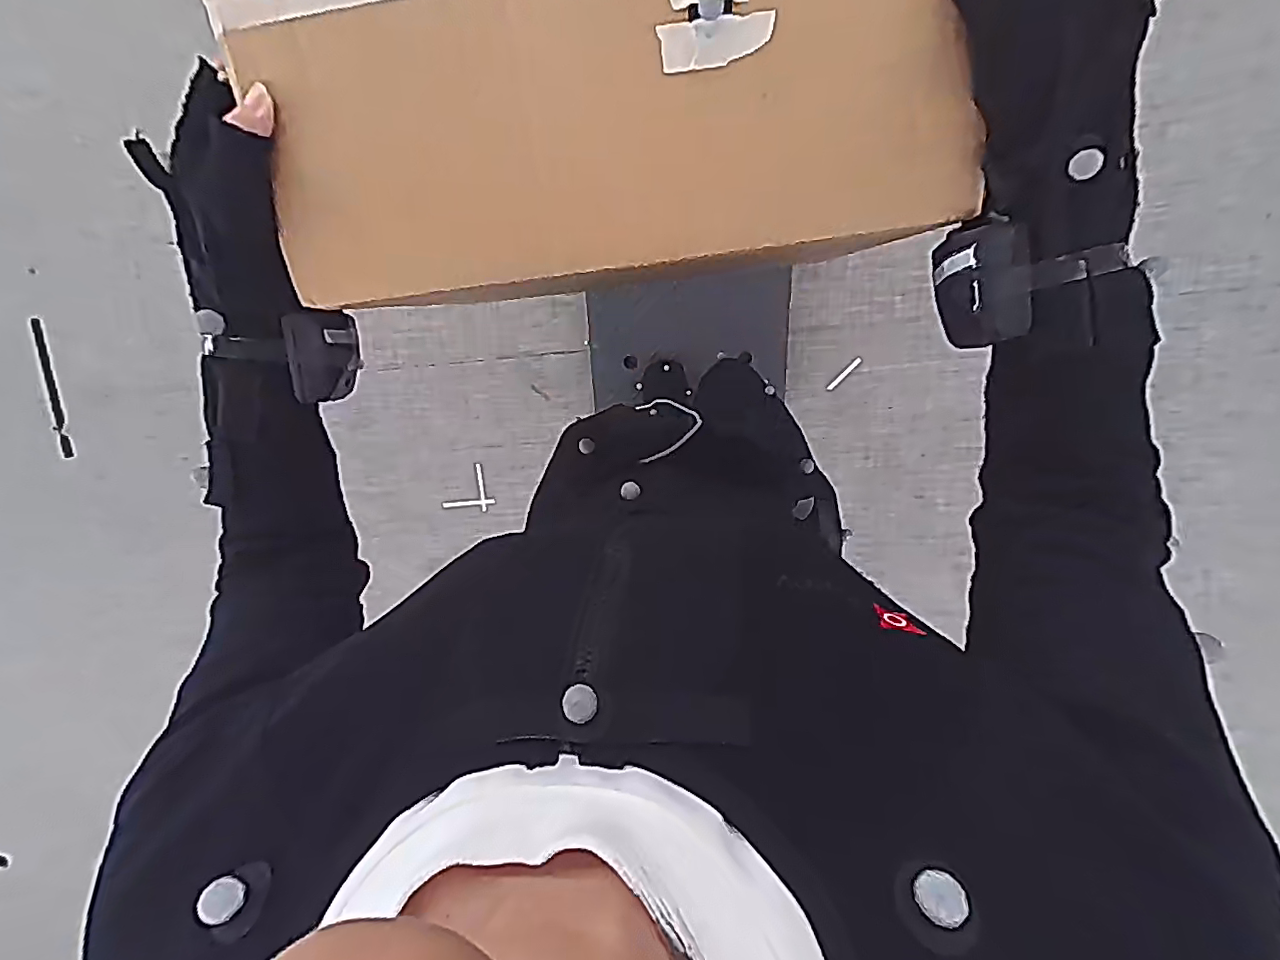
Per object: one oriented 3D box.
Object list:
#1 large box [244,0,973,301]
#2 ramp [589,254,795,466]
[{"bbox_3d":[-0.019,-0.330,0.427,0.408,0.320,0.320,-5,109,7],"label":"large box"},{"bbox_3d":[0.119,-0.505,1.279,0.509,0.206,0.991,-3,102,5],"label":"ramp"}]
